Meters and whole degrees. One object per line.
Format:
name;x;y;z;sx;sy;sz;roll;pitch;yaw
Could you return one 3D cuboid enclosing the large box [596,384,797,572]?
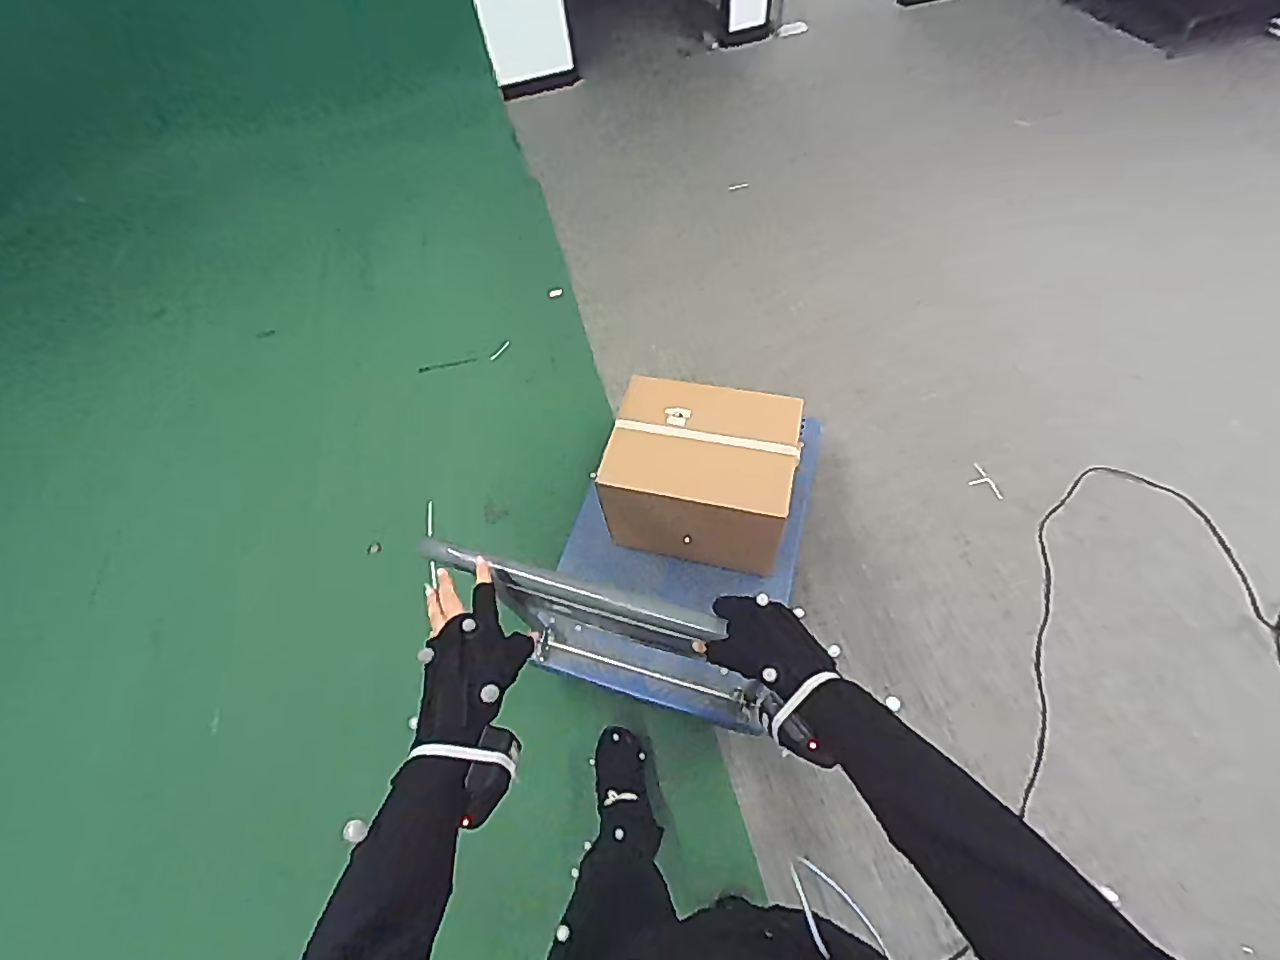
large box;0.149;-0.001;1.320;0.408;0.320;0.320;9;59;13
